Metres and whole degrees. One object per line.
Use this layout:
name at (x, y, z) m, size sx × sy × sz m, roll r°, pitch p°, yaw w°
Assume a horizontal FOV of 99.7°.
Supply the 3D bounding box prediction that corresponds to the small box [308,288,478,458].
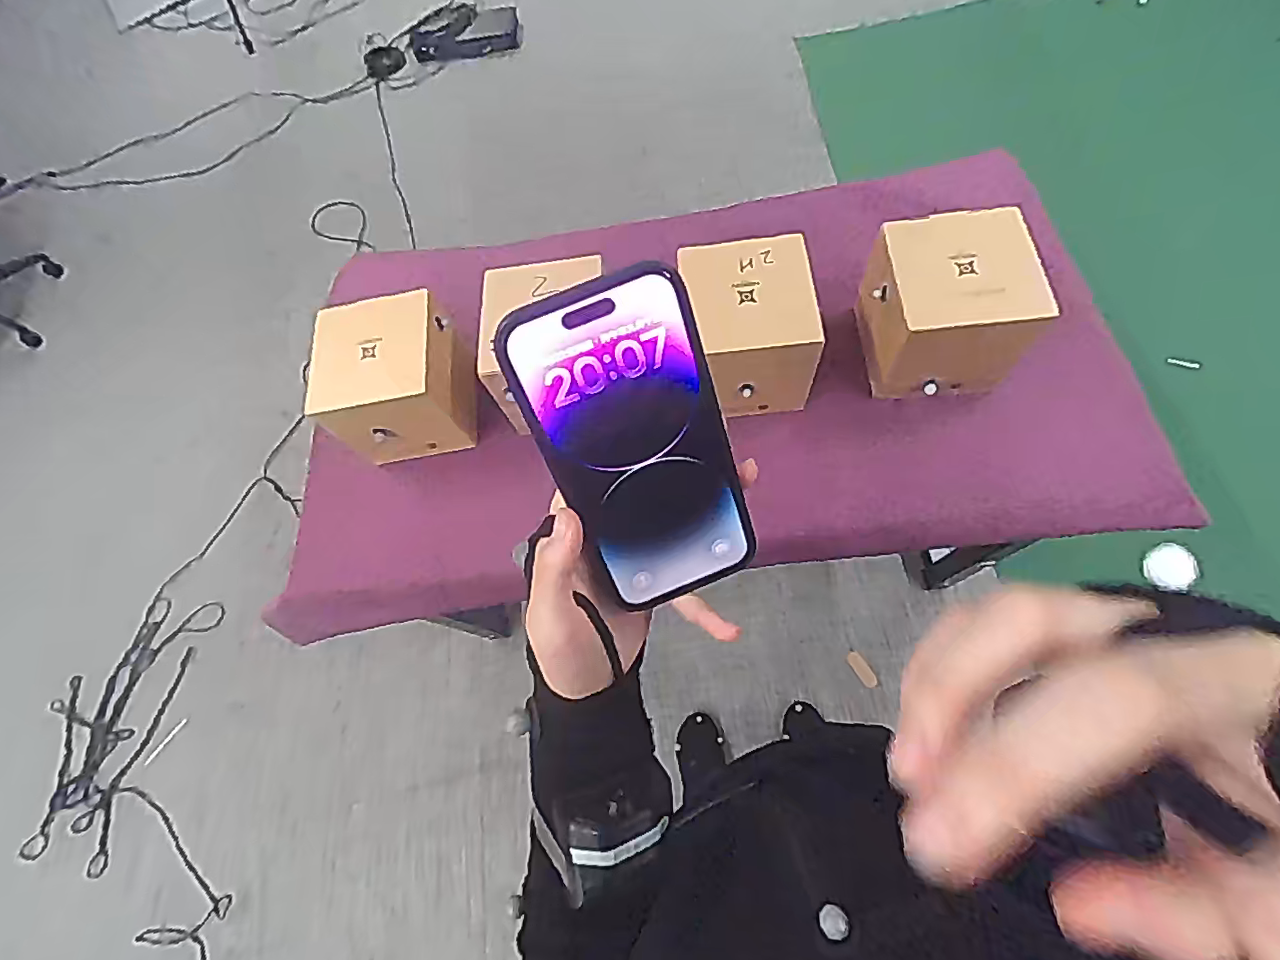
small box at (-0.350, -0.145, 0.798) m, size 0.168 × 0.176 × 0.179 m, roll -10°, pitch 66°, yaw 4°

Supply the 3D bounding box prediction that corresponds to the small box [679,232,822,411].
small box at (0.145, -0.207, 0.752) m, size 0.168 × 0.176 × 0.179 m, roll -4°, pitch 67°, yaw 6°

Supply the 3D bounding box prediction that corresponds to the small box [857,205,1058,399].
small box at (0.404, -0.230, 0.726) m, size 0.168 × 0.176 × 0.179 m, roll -4°, pitch 67°, yaw 7°
